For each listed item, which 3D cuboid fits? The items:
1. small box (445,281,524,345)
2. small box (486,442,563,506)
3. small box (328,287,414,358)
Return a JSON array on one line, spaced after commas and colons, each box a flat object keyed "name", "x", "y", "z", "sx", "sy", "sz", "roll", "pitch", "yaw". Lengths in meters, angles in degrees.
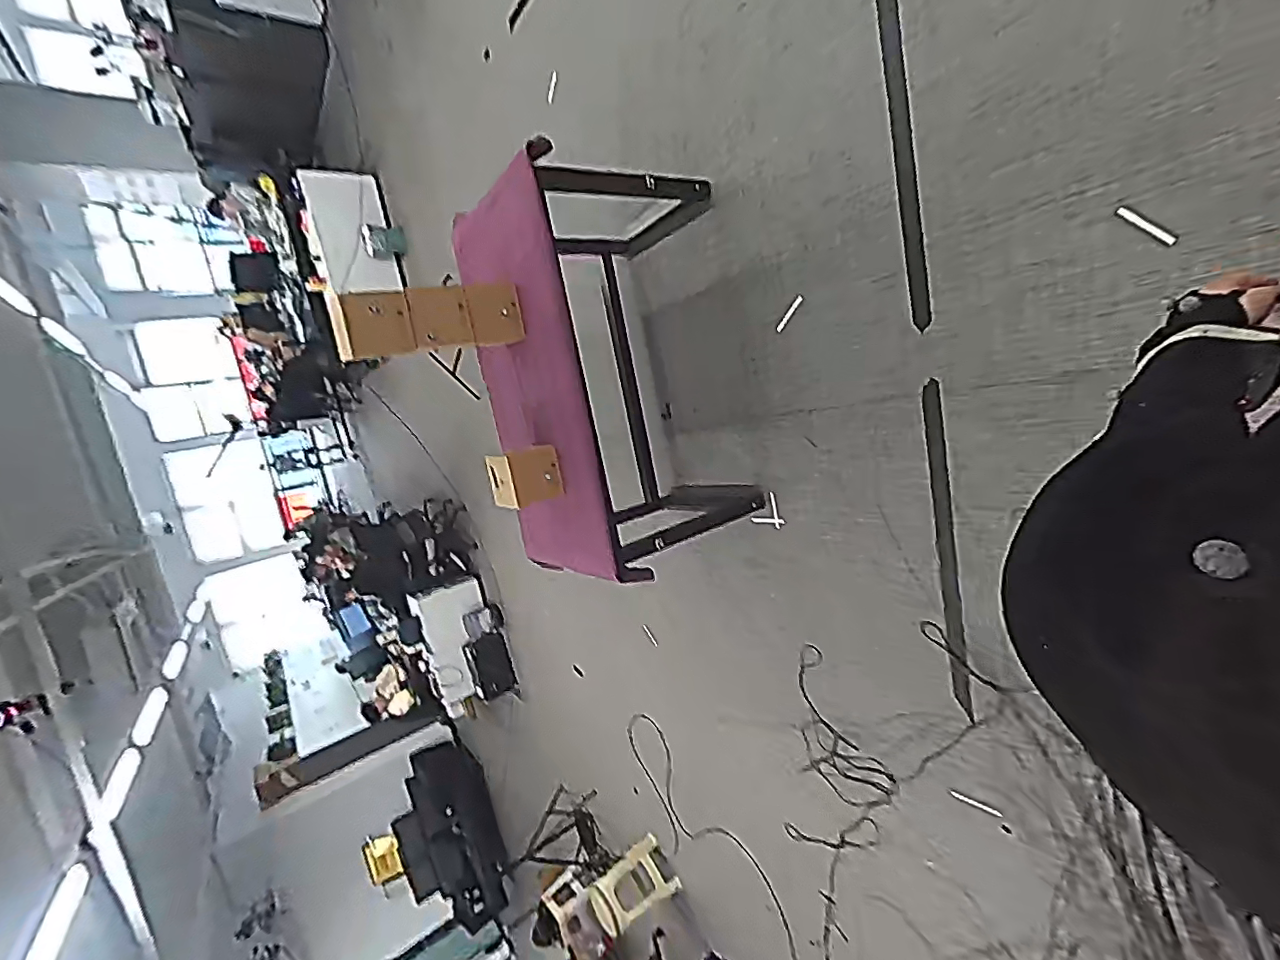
[{"name": "small box", "x": -0.480, "y": -0.515, "z": 1.672, "sx": 0.179, "sy": 0.176, "sz": 0.168, "roll": 9, "pitch": 113, "yaw": 52}, {"name": "small box", "x": -0.367, "y": -0.024, "z": 1.727, "sx": 0.179, "sy": 0.176, "sz": 0.168, "roll": 3, "pitch": 106, "yaw": 53}, {"name": "small box", "x": -0.733, "y": -0.431, "z": 1.483, "sx": 0.179, "sy": 0.176, "sz": 0.168, "roll": 13, "pitch": 113, "yaw": 53}]
